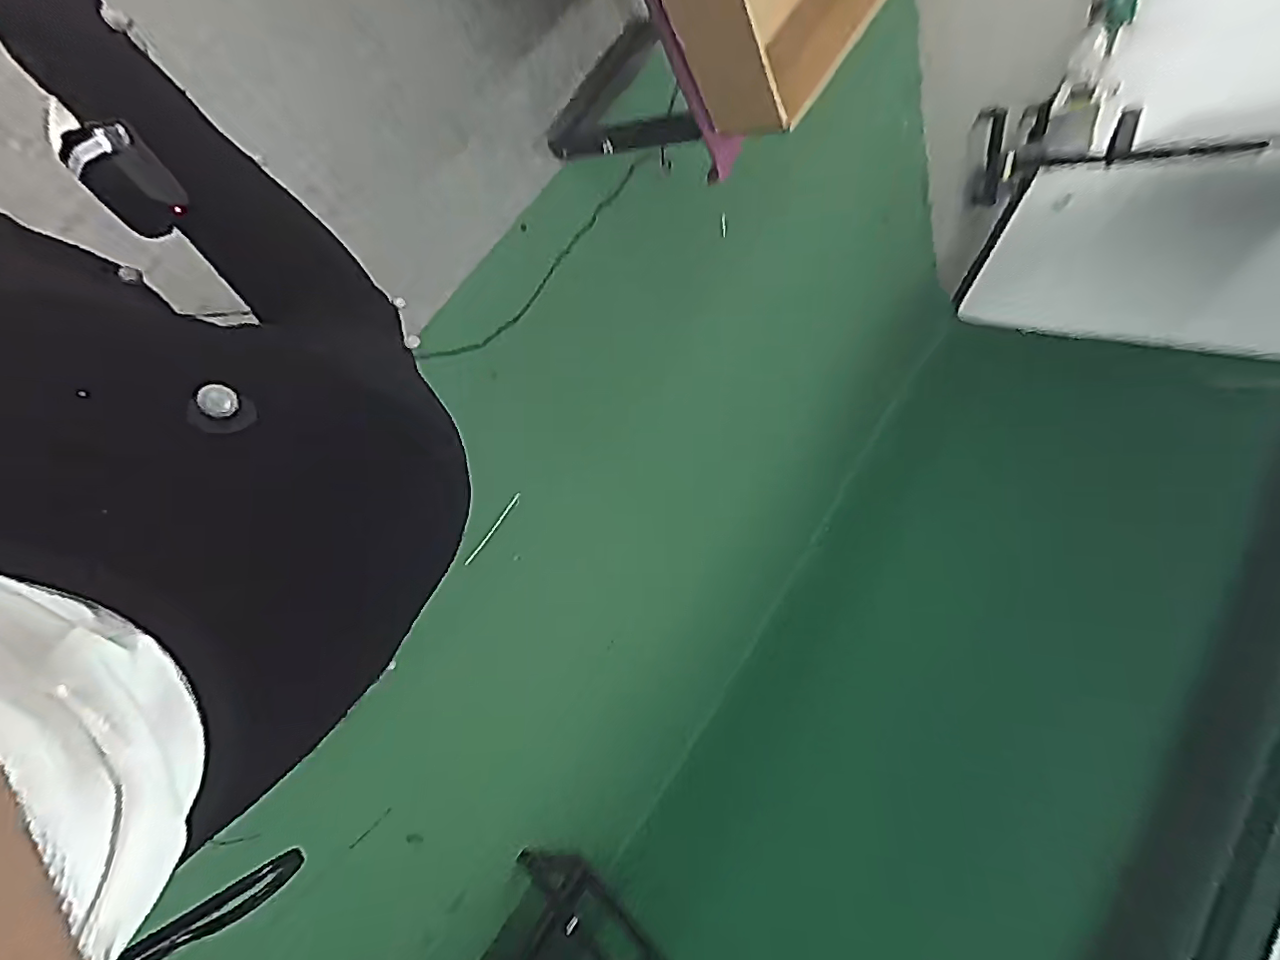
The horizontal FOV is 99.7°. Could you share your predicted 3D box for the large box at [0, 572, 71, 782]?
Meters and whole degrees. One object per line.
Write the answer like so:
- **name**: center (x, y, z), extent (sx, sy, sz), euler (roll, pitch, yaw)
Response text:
- **large box**: center (-1.402, 0.408, 1.040), extent (0.408, 0.320, 0.320), euler (-4, 113, -46)
